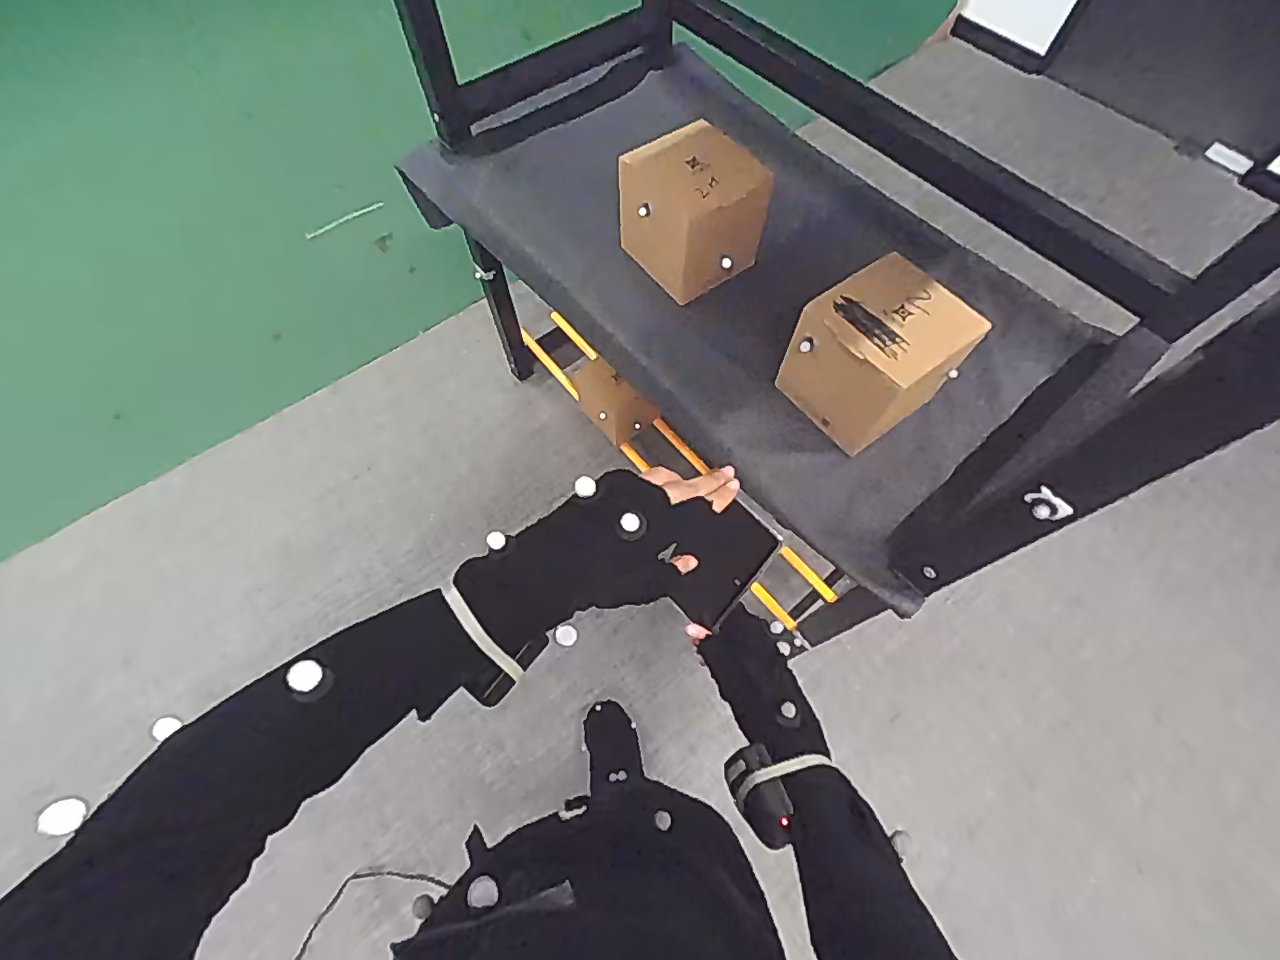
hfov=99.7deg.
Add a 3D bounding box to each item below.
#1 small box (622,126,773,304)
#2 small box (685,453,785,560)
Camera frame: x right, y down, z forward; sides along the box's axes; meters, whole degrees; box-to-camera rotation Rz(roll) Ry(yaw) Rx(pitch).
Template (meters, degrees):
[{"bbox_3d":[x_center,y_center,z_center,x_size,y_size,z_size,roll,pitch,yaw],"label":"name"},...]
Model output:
[{"bbox_3d":[0.083,-0.427,0.885,0.168,0.176,0.179,-34,69,-15],"label":"small box"},{"bbox_3d":[0.226,0.071,1.337,0.179,0.176,0.168,-34,69,-15],"label":"small box"}]
